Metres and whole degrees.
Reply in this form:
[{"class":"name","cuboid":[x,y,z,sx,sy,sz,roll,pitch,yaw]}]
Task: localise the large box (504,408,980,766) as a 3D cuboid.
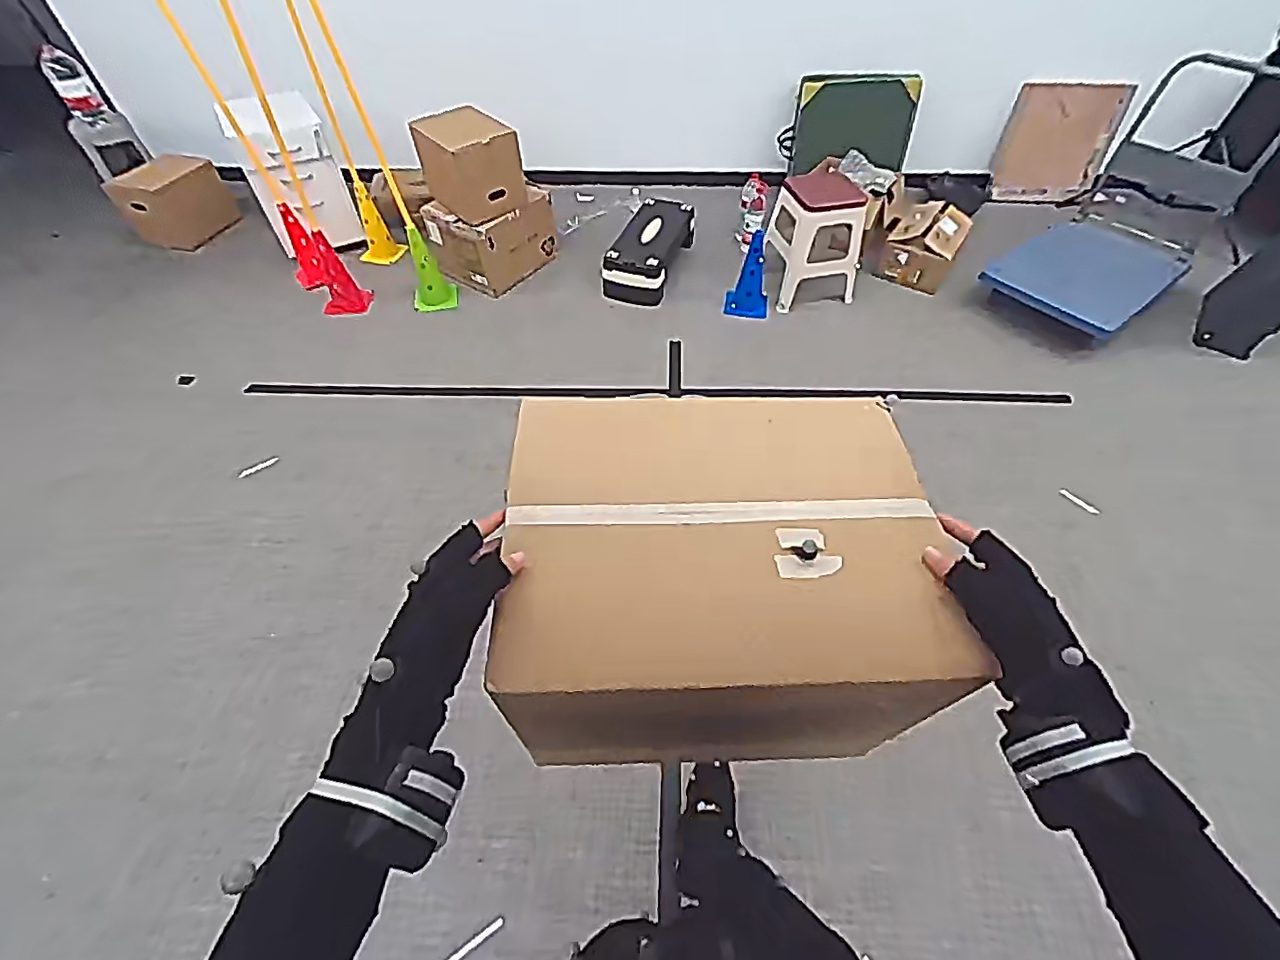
[{"class":"large box","cuboid":[0.073,0.131,0.643,0.408,0.320,0.320,-1,53,-4]}]
